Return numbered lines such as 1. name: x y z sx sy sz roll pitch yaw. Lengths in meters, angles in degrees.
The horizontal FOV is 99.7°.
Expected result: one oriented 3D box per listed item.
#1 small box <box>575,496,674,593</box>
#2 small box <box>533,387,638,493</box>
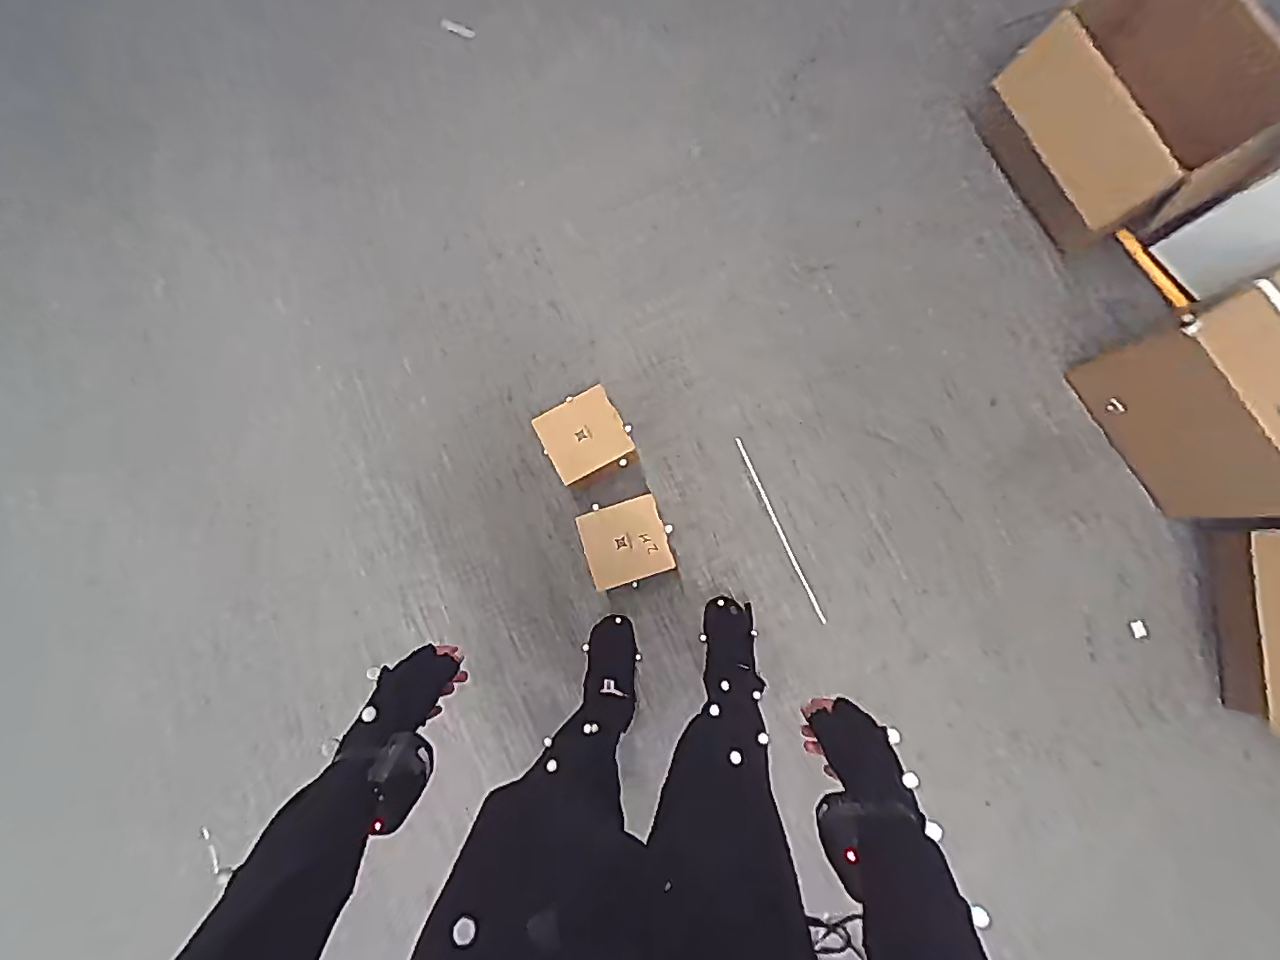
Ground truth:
1. small box: -0.027 0.144 1.206 0.179 0.176 0.168 -18 84 1
2. small box: -0.115 -0.083 1.237 0.179 0.176 0.168 -28 83 -1
